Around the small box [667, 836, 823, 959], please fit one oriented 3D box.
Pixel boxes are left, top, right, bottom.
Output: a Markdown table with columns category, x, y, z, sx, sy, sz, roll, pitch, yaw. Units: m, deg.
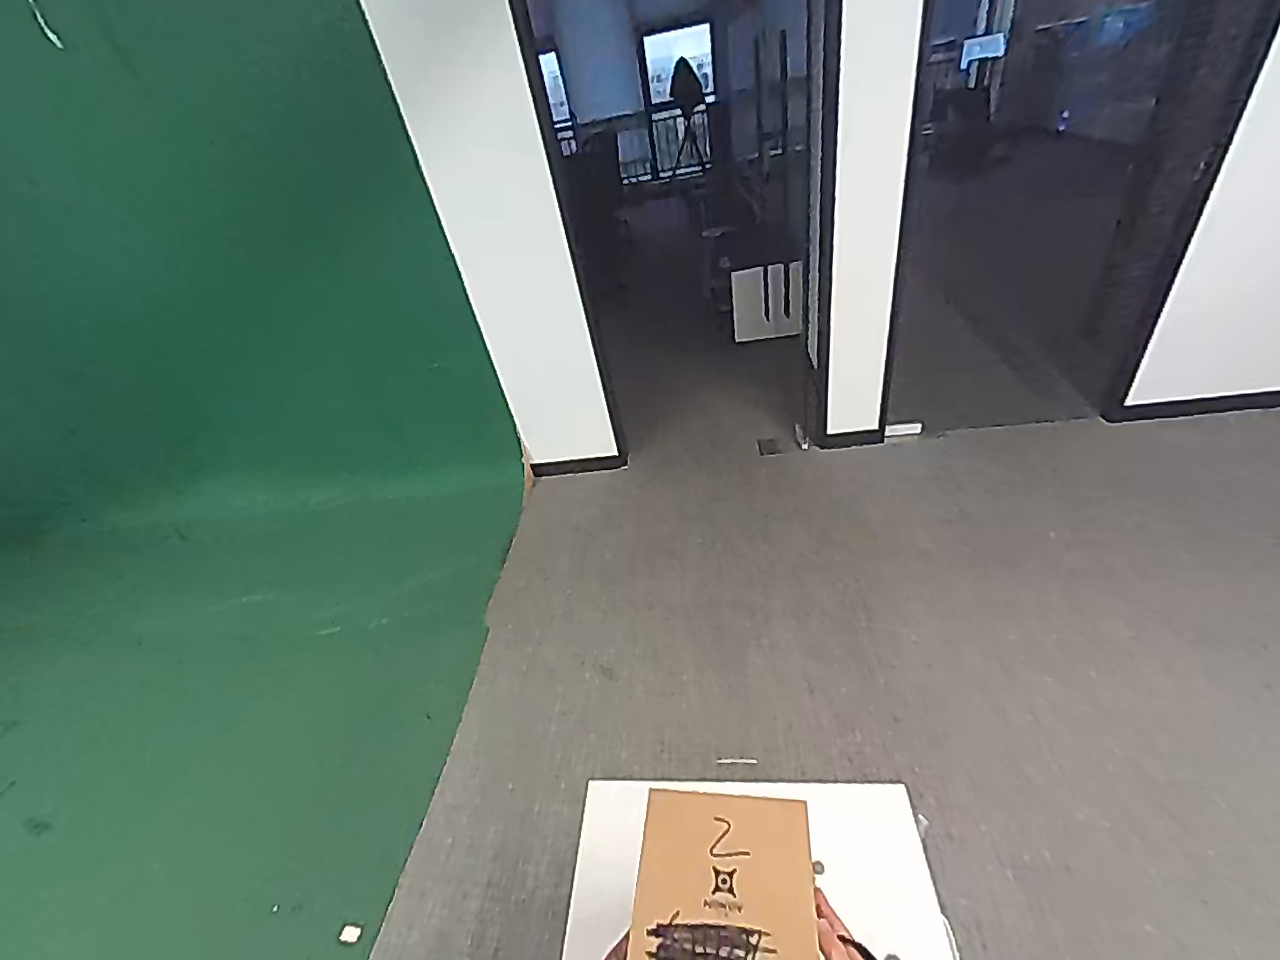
| category | x | y | z | sx | sy | sz | roll | pitch | yaw |
| --- | --- | --- | --- | --- | --- | --- | --- | --- | --- |
| small box | 0.128 | 0.563 | 0.642 | 0.168 | 0.176 | 0.179 | -1 | 38 | 15 |
